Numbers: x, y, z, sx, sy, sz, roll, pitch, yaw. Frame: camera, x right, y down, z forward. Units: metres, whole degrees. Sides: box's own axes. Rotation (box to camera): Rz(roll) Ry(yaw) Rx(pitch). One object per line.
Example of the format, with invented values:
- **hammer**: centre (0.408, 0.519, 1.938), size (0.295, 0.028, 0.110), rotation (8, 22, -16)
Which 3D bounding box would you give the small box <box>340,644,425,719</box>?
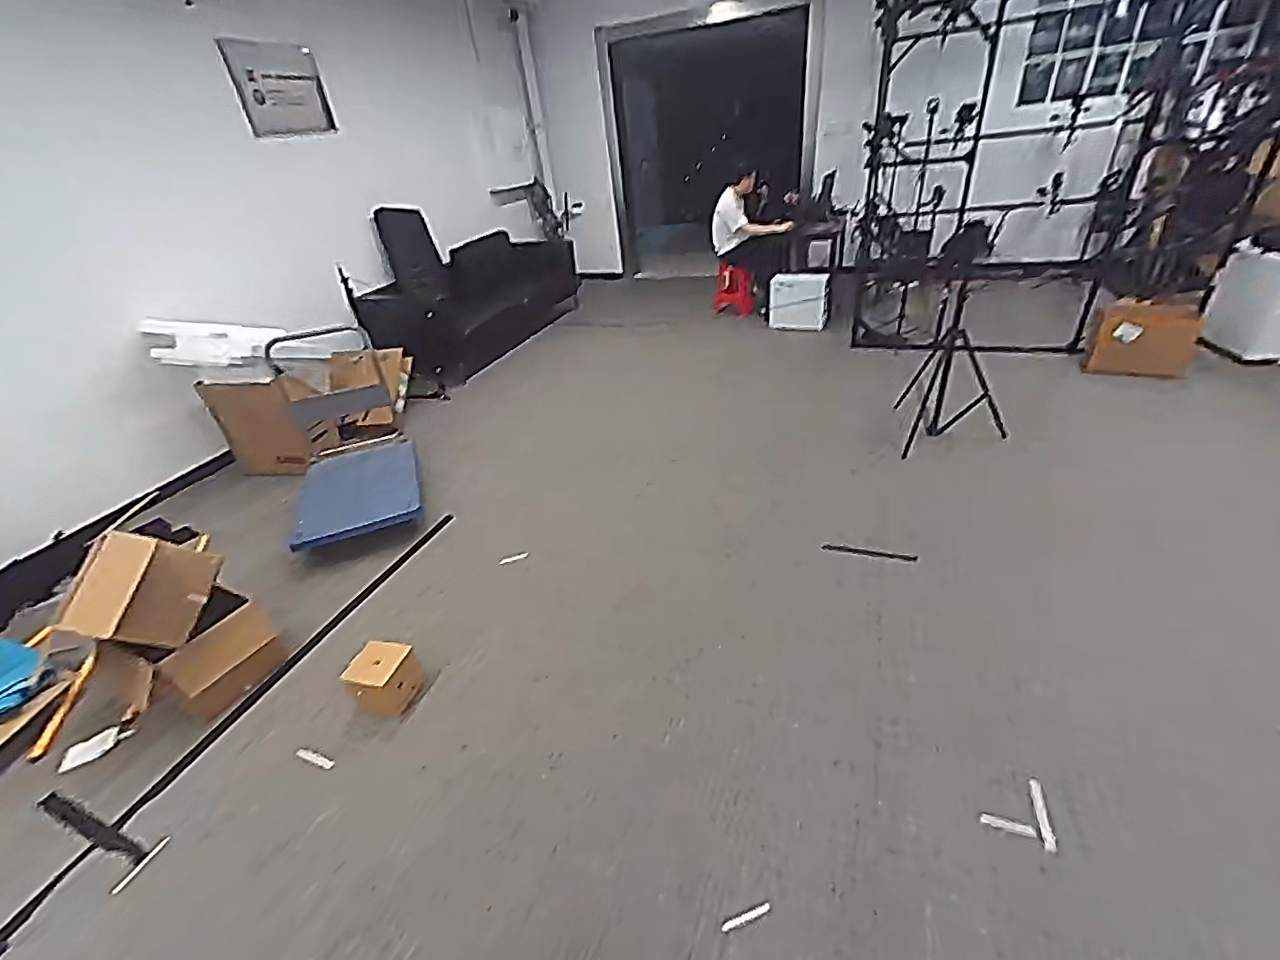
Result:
- **small box**: centre (-0.866, 0.687, 1.841), size (0.179, 0.176, 0.168), rotation (2, 33, 15)
